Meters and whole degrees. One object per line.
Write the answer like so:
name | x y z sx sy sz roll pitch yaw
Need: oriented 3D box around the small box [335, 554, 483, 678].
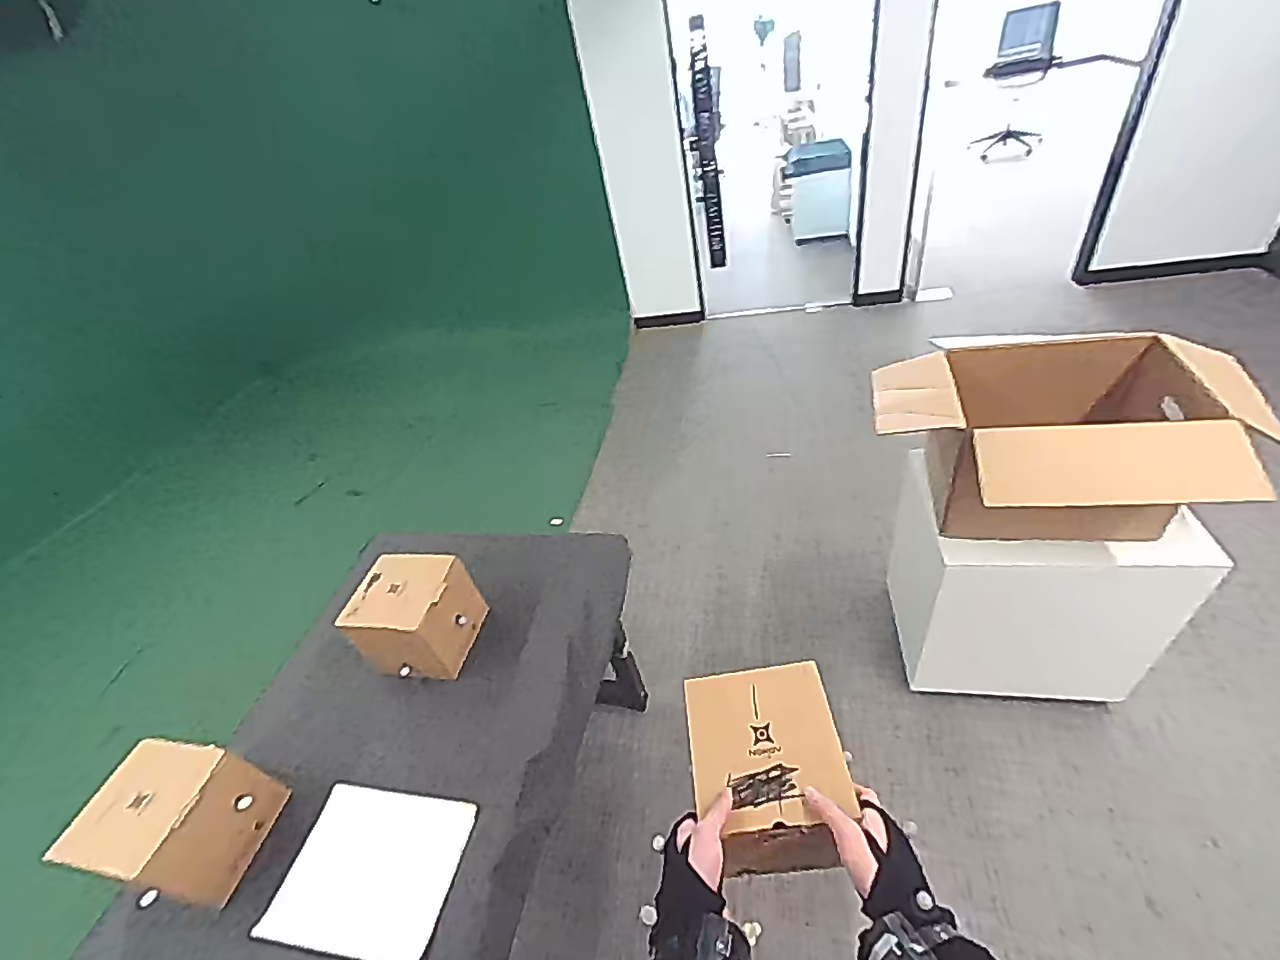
small box | -0.430 0.263 1.045 0.179 0.176 0.168 0 42 14

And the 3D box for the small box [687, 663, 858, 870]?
small box | 0.157 0.353 0.659 0.168 0.176 0.179 -10 40 8

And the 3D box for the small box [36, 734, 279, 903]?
small box | -0.702 0.508 0.814 0.179 0.176 0.168 -2 40 15
